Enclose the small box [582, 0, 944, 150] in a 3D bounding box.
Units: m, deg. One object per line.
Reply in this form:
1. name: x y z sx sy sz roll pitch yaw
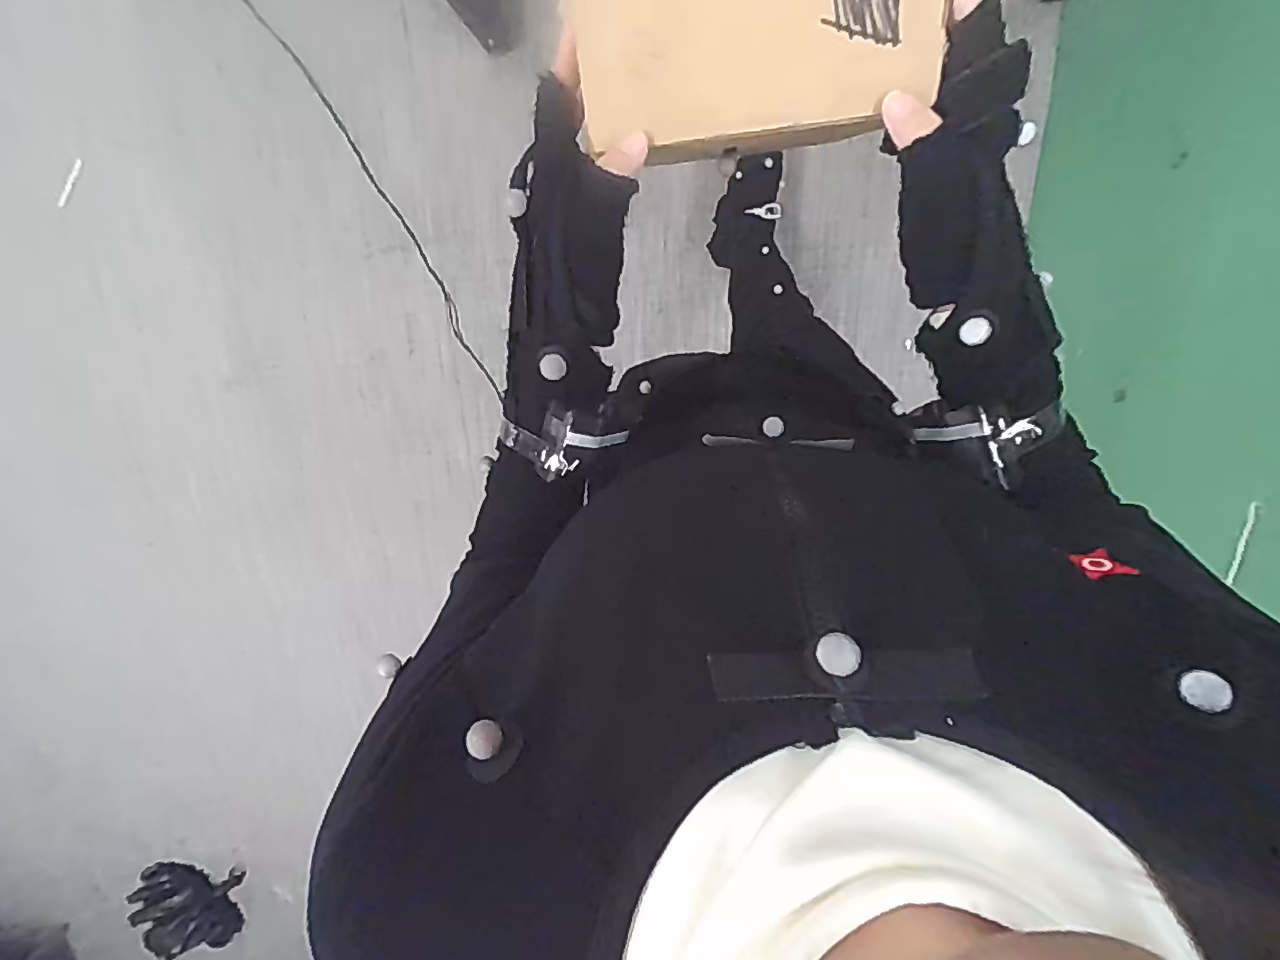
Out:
1. small box: 0.056 -0.300 0.312 0.179 0.176 0.168 -5 117 5
